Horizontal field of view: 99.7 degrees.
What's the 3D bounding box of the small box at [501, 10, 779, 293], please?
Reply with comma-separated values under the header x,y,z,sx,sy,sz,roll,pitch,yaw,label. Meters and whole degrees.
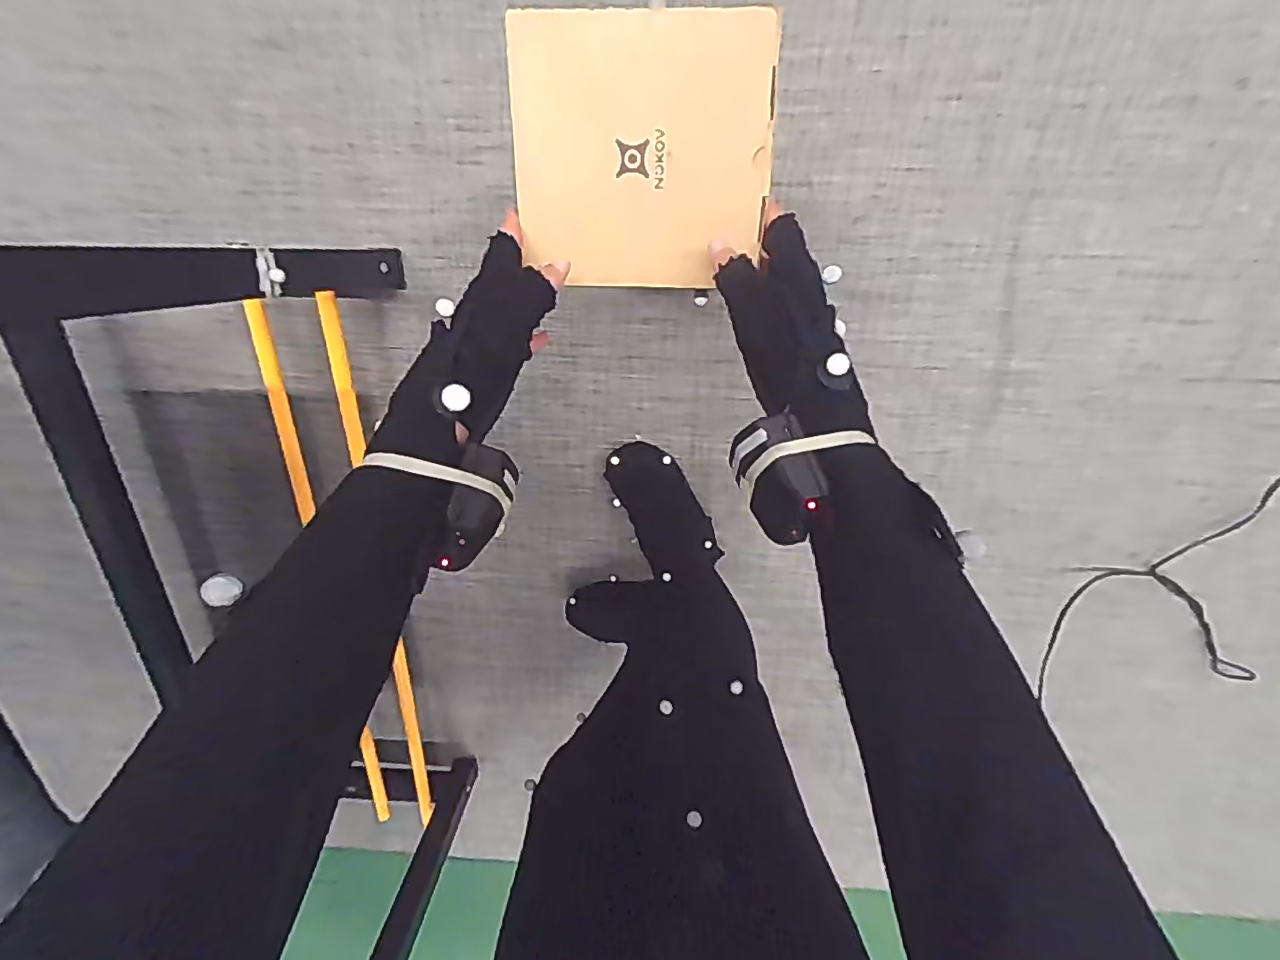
x,y,z,sx,sy,sz,roll,pitch,yaw,label
0.003,-0.244,0.437,0.179,0.176,0.168,2,113,3,small box
